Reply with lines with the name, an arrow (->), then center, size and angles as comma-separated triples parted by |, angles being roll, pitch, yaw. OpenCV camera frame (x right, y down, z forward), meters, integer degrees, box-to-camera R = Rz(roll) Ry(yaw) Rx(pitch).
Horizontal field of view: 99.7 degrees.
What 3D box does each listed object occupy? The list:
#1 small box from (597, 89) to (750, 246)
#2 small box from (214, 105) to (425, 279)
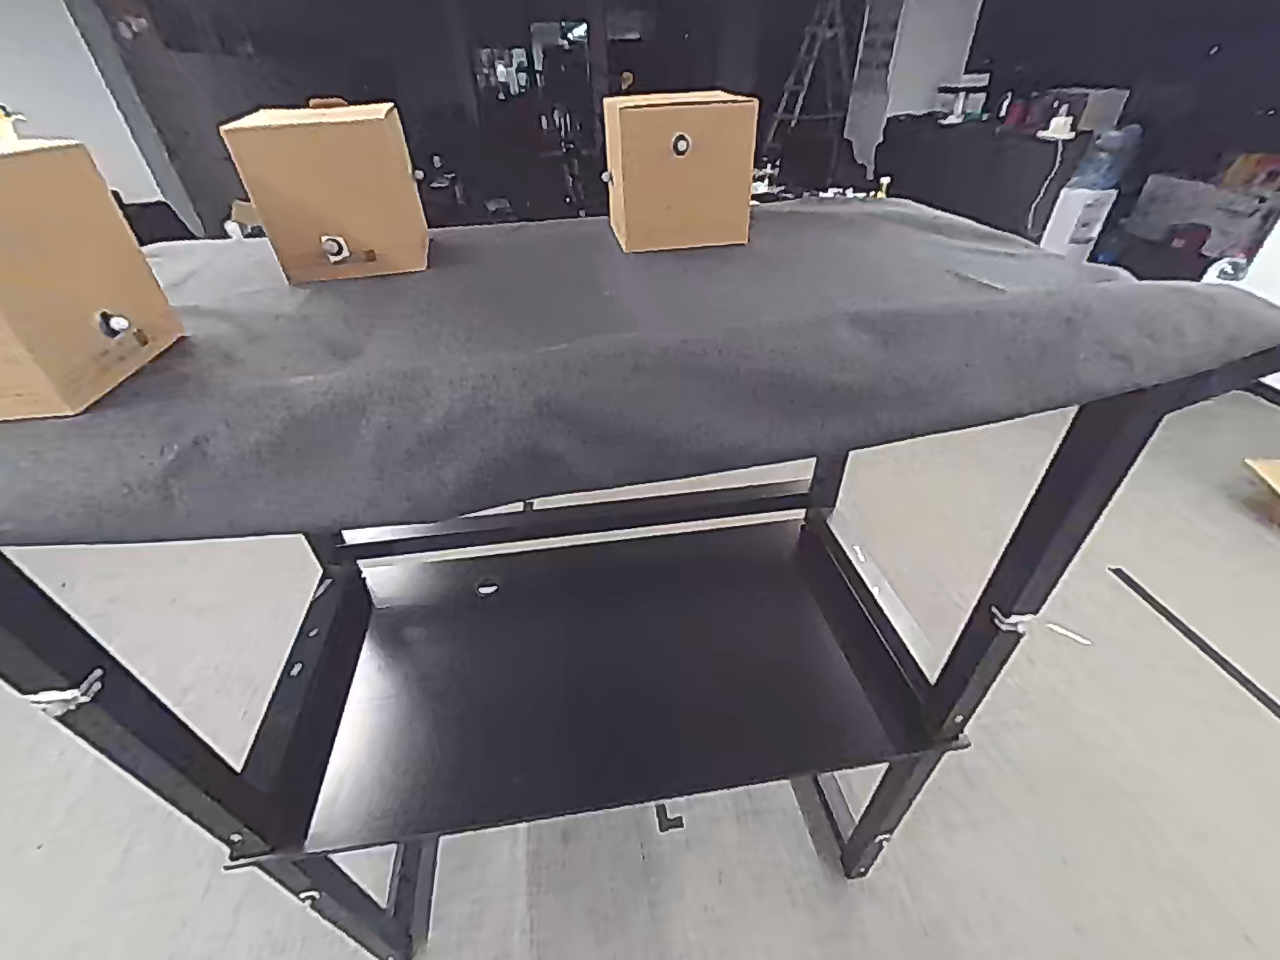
small box -> 0.041, -0.434, 0.751 | 0.179, 0.176, 0.168 | -7, 38, -6
small box -> -0.383, -0.368, 0.687 | 0.168, 0.176, 0.179 | -12, 39, -11
